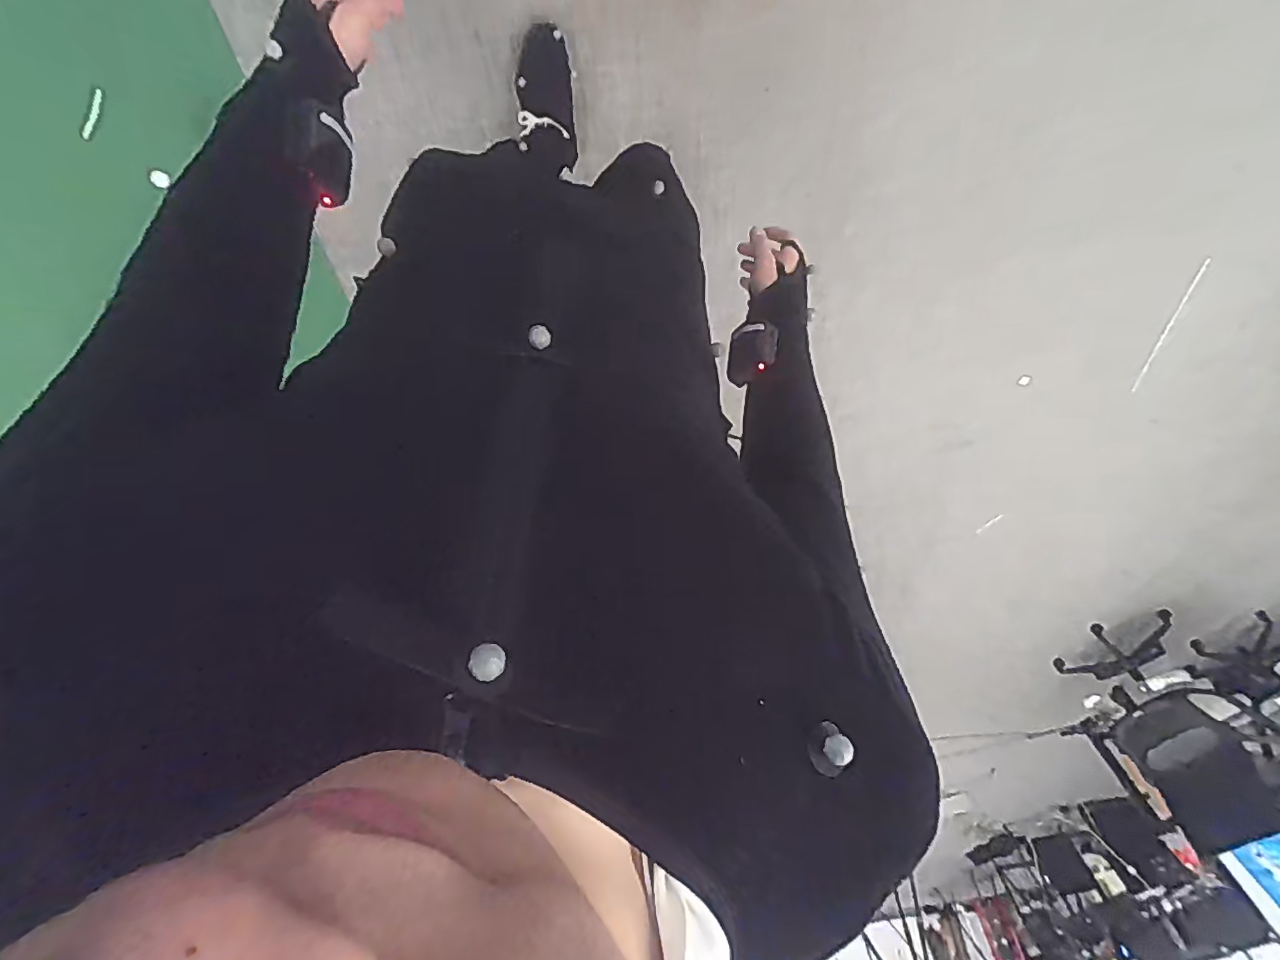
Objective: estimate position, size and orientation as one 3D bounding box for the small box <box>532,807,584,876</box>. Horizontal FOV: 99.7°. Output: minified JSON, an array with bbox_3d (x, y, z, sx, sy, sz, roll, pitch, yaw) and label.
[{"bbox_3d":[-0.302,1.344,2.014,0.168,0.176,0.179,-9,131,-2],"label":"small box"}]
